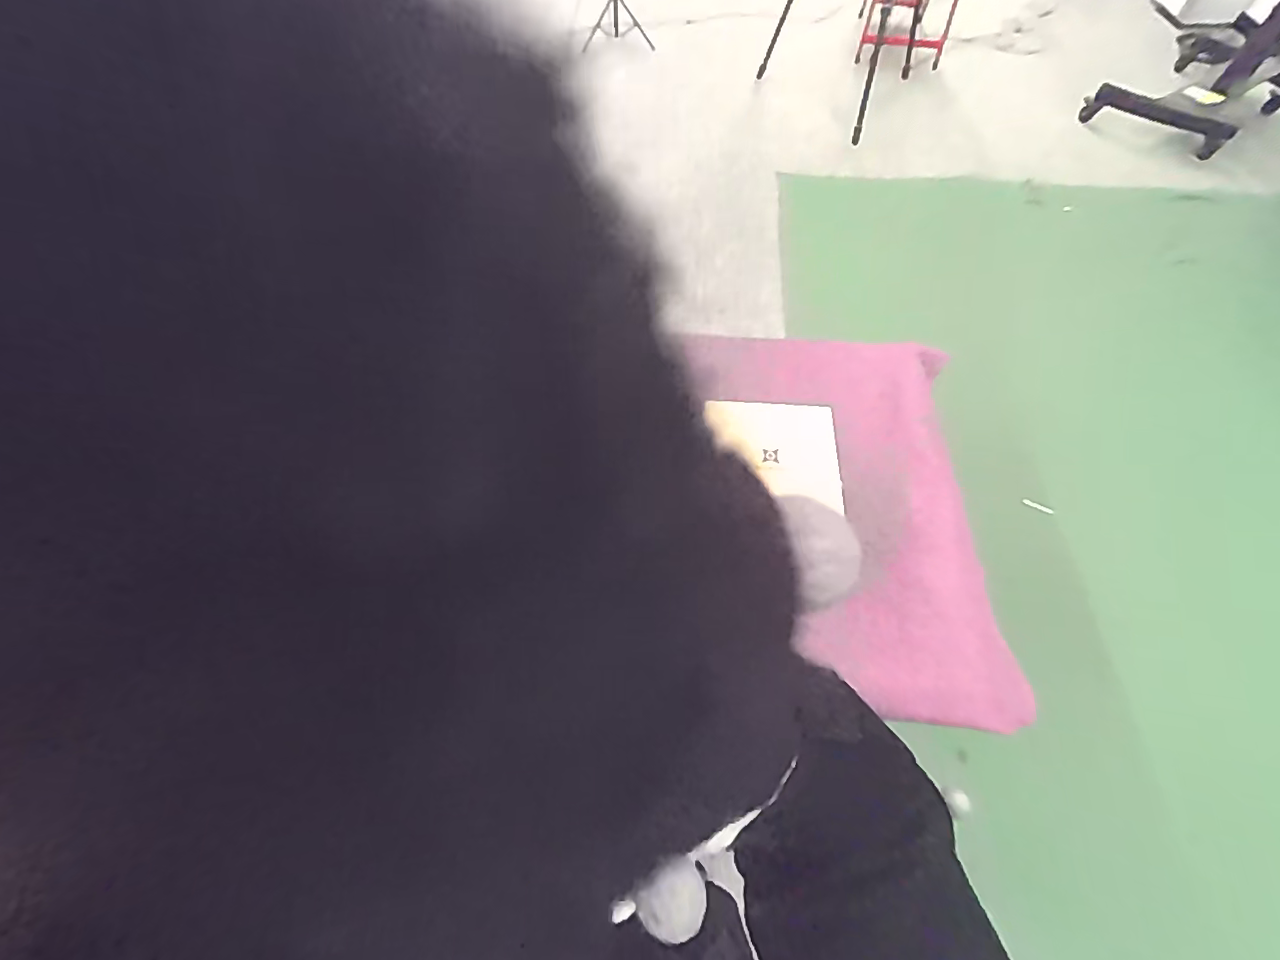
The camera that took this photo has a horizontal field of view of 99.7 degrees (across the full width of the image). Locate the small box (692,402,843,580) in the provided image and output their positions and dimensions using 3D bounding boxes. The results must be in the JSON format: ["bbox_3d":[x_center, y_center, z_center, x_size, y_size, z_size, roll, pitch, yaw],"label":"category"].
[{"bbox_3d":[0.160,0.018,0.735,0.168,0.176,0.179,4,59,3],"label":"small box"}]
